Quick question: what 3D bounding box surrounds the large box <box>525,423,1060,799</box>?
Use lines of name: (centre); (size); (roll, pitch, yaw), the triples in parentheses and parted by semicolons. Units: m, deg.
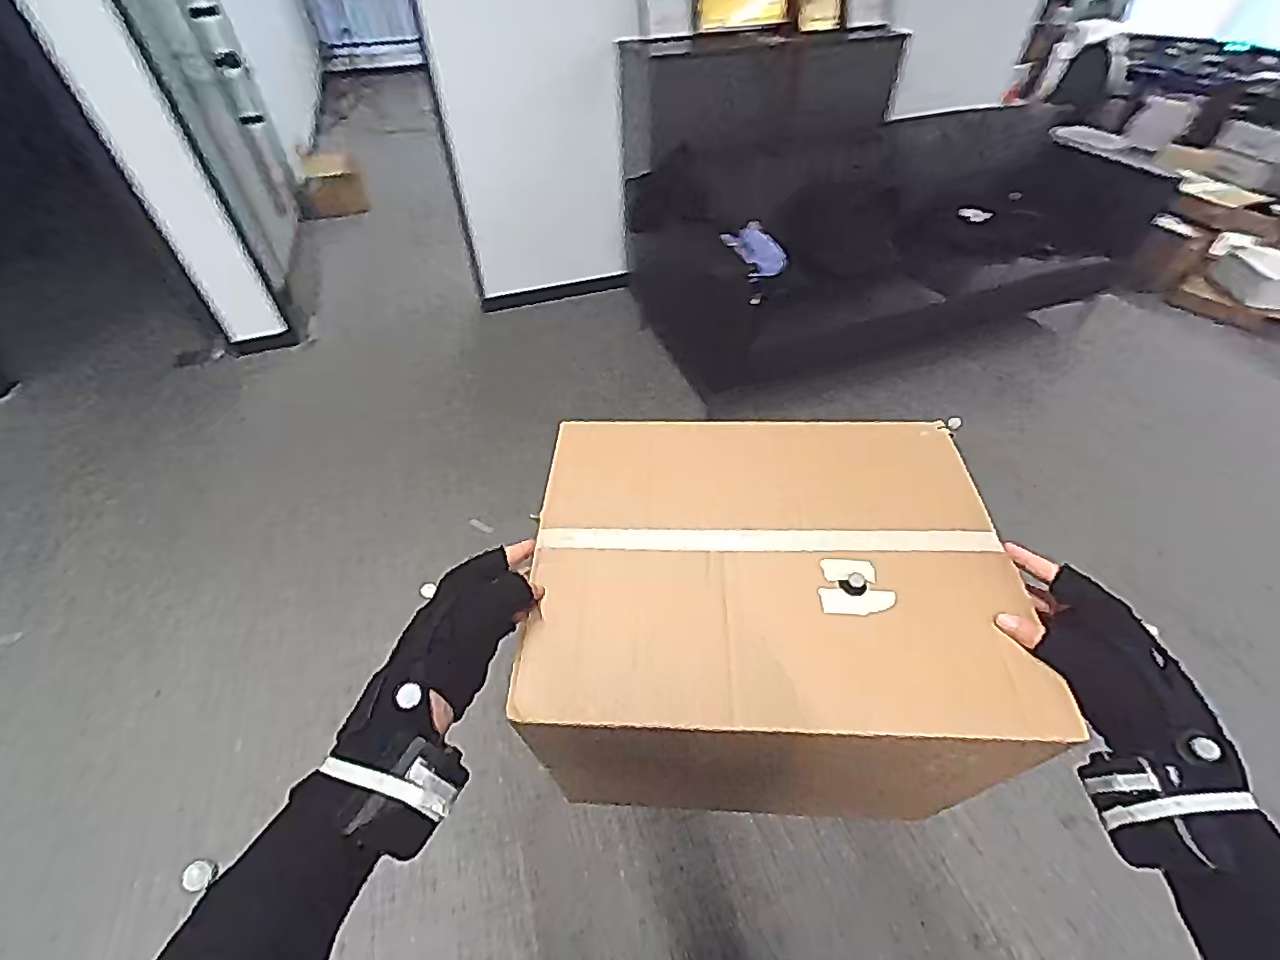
large box: (0.114, 0.152, 0.605); (0.408, 0.320, 0.320); (0, 50, 2)
